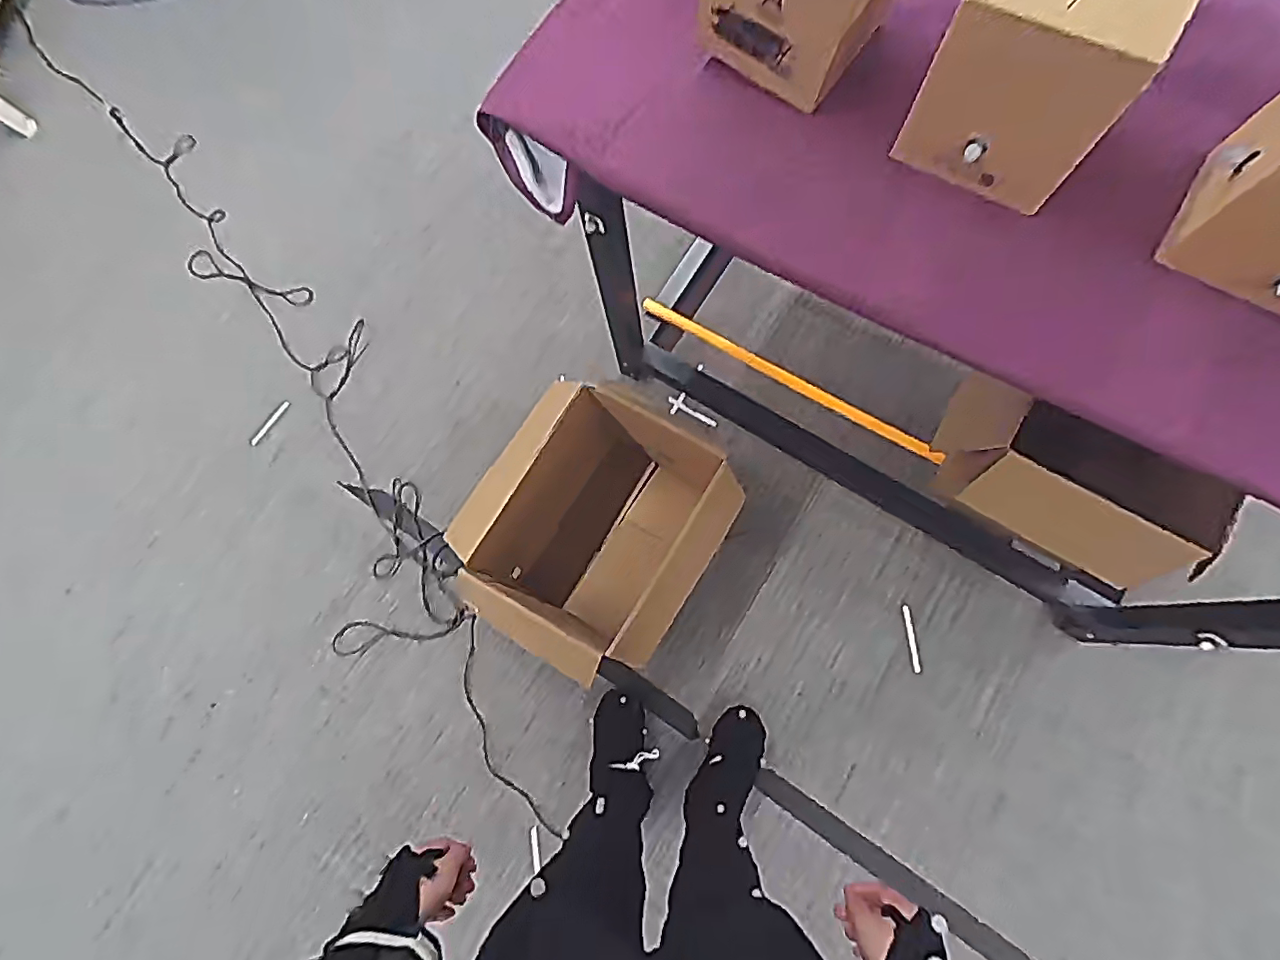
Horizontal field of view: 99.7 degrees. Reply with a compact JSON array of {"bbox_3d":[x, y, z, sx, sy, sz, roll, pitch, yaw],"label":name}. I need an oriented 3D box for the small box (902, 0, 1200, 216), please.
[{"bbox_3d":[0.394,-0.411,0.535,0.168,0.176,0.179,31,80,12],"label":"small box"}]

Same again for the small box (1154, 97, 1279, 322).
[{"bbox_3d":[0.635,-0.264,0.474,0.179,0.176,0.168,33,79,12],"label":"small box"}]
